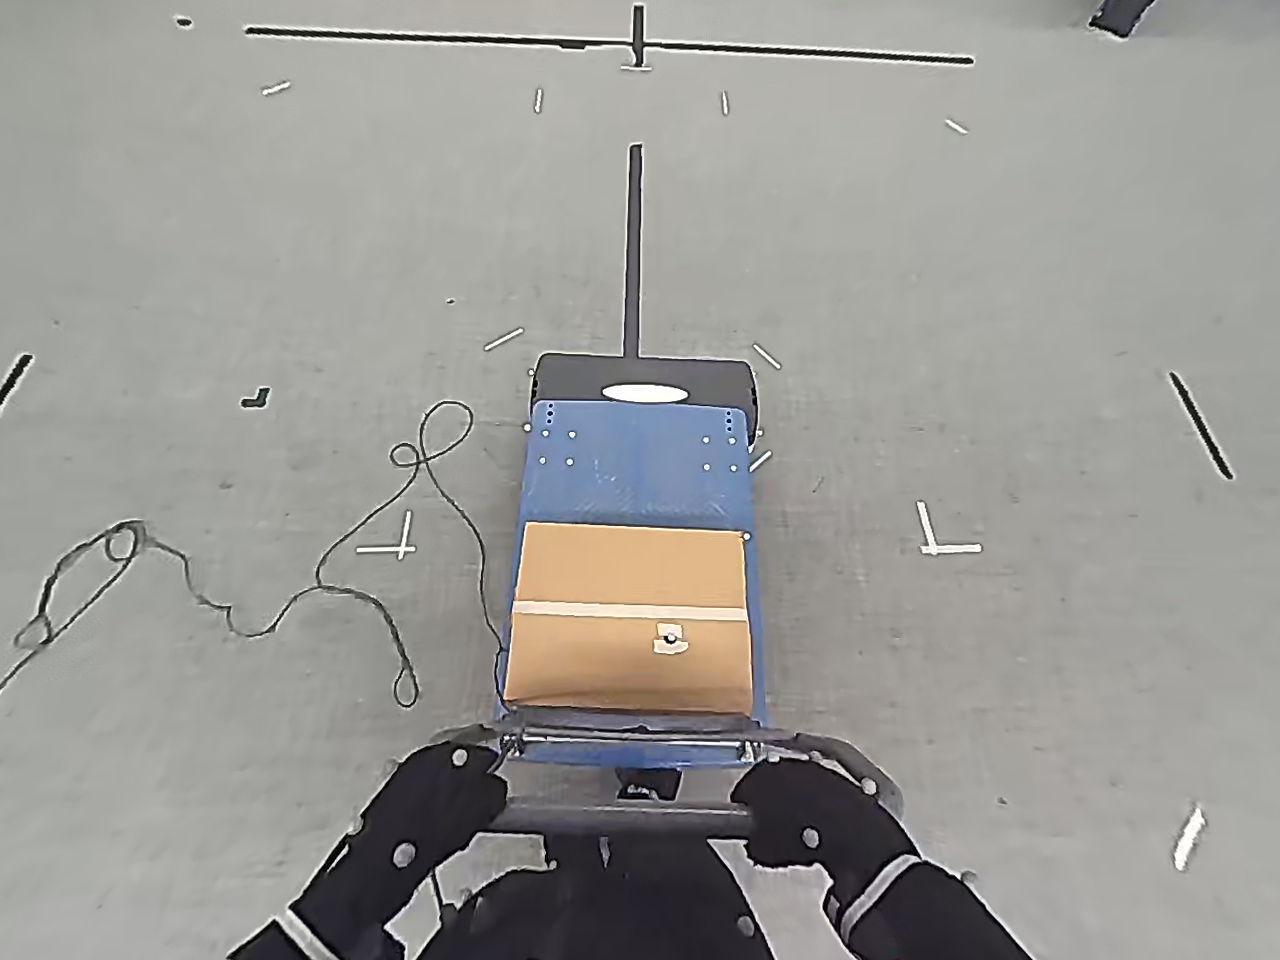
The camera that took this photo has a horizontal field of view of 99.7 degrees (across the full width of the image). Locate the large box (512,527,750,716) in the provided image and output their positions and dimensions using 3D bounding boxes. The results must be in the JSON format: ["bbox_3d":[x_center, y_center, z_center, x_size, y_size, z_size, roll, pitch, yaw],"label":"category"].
[{"bbox_3d":[-0.022,0.299,1.089,0.408,0.320,0.320,3,64,-3],"label":"large box"}]
